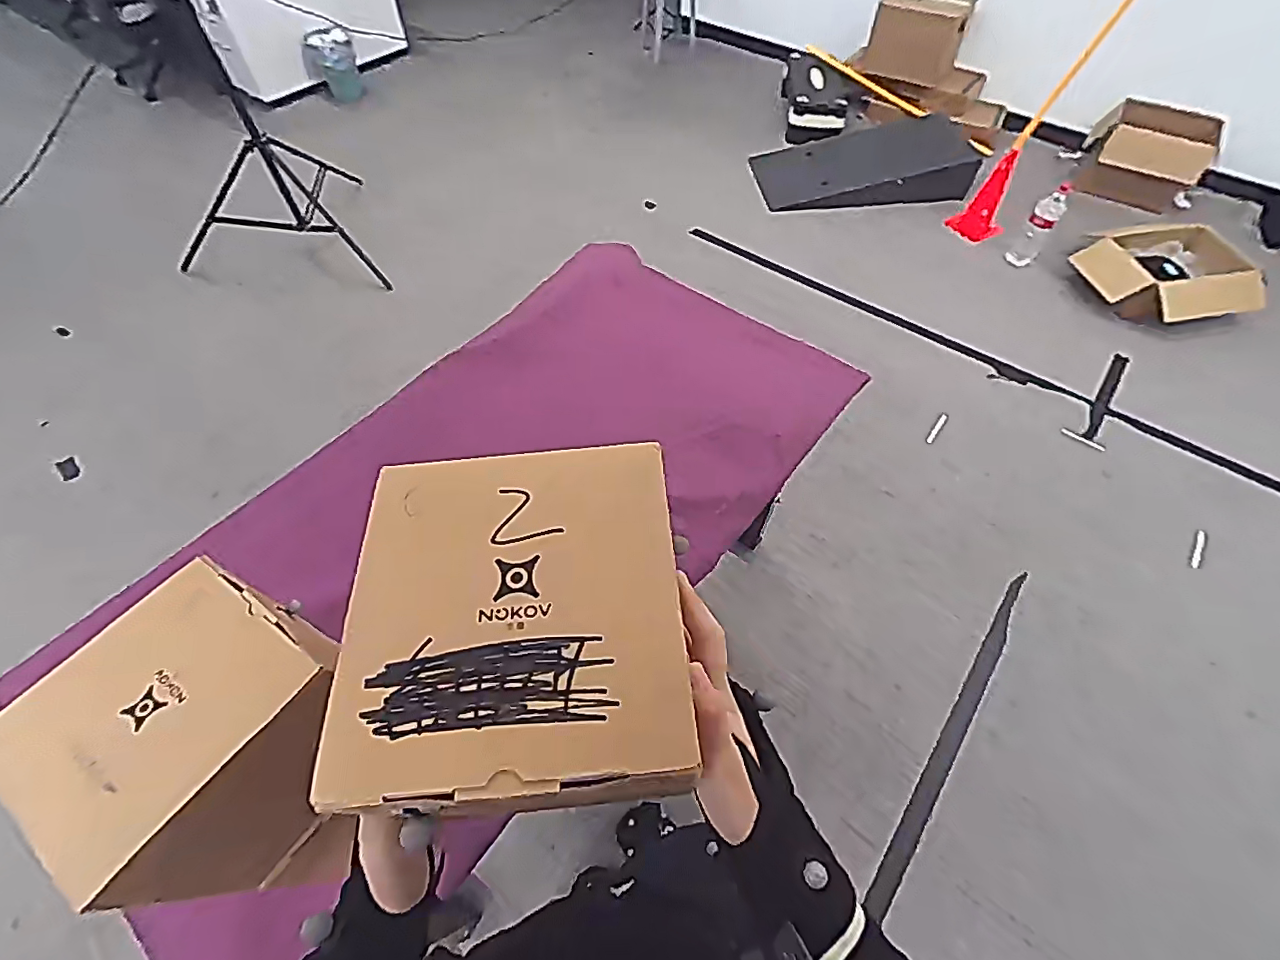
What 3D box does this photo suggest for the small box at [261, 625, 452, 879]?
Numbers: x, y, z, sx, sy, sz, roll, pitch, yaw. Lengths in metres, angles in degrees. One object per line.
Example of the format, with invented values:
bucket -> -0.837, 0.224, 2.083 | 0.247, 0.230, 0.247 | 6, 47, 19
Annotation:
small box -> -0.342, 0.293, 0.590 | 0.179, 0.176, 0.168 | 31, 62, 18

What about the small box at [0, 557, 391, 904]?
small box -> -0.342, 0.203, 0.455 | 0.168, 0.176, 0.179 | 28, 62, 19
